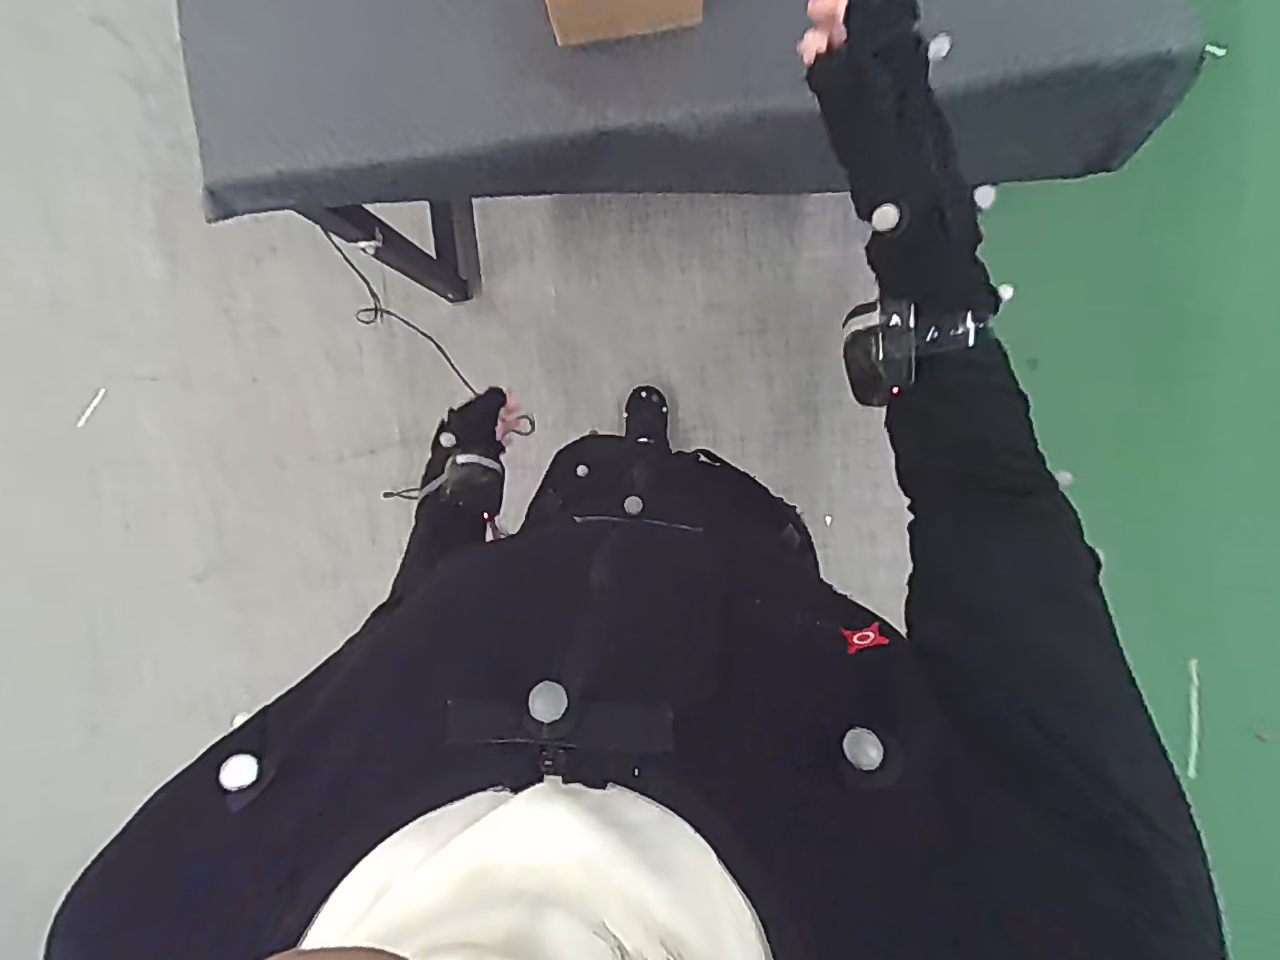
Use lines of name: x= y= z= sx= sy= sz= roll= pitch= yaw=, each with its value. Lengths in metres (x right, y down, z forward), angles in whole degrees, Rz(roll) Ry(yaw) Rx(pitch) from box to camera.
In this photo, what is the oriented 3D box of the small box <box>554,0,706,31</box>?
small box: x=-0.021 y=-0.614 z=0.561 sx=0.179 sy=0.176 sz=0.168 roll=-5 pitch=95 yaw=4
